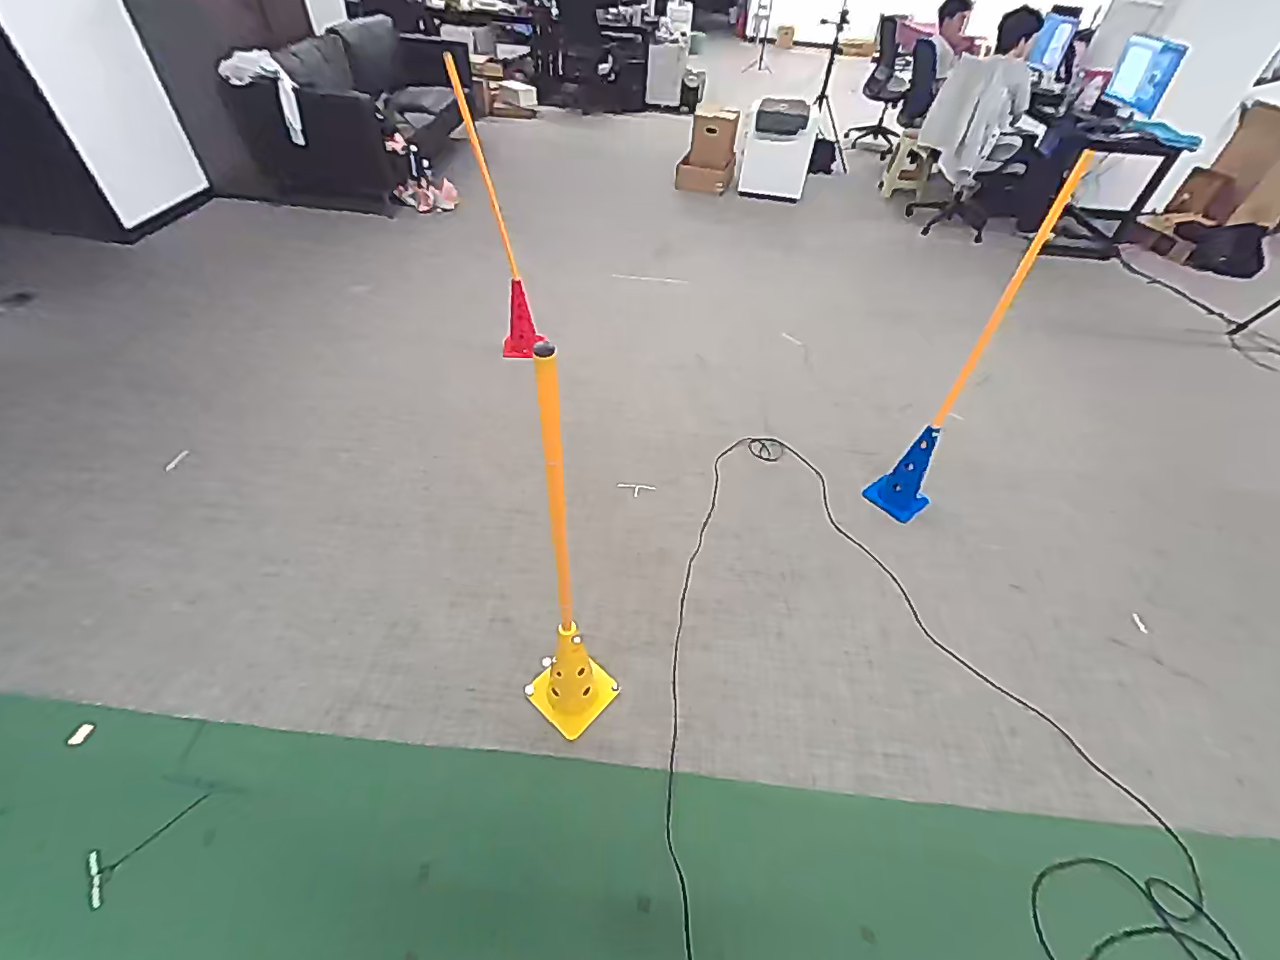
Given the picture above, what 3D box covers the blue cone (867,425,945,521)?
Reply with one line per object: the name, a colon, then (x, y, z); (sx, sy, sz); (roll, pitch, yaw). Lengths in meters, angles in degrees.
blue cone: (1.014, -0.050, 1.997); (0.193, 0.380, 0.192); (-28, 53, -31)
